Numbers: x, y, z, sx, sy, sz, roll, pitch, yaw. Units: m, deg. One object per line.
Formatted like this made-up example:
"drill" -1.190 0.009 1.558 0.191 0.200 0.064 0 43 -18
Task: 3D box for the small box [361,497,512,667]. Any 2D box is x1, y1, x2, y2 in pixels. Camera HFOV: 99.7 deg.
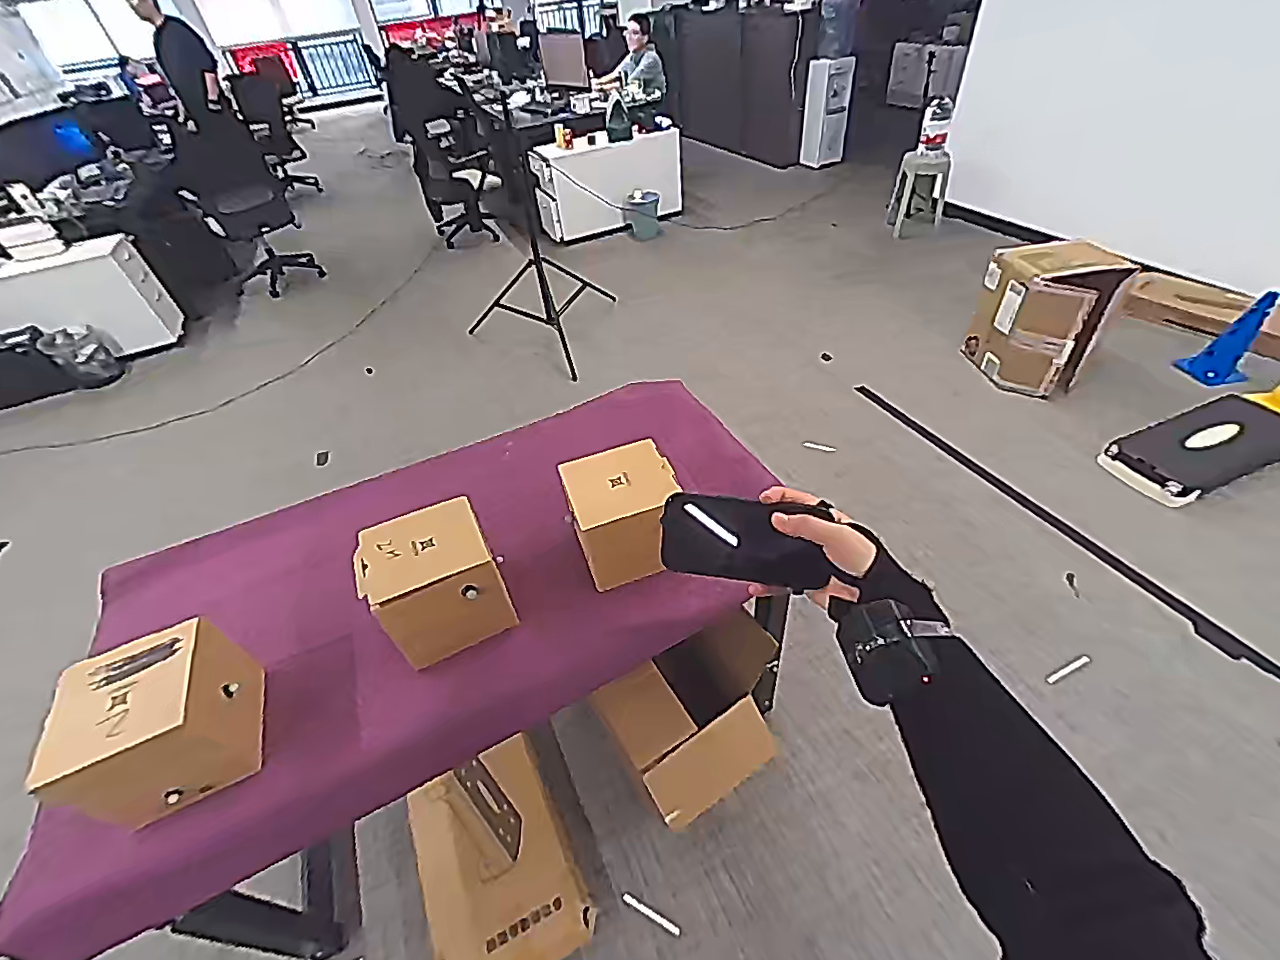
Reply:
"small box" -0.320 0.164 0.874 0.179 0.176 0.168 -23 43 -16

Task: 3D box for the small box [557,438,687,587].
"small box" -0.028 0.059 0.945 0.179 0.176 0.168 -18 44 -11
